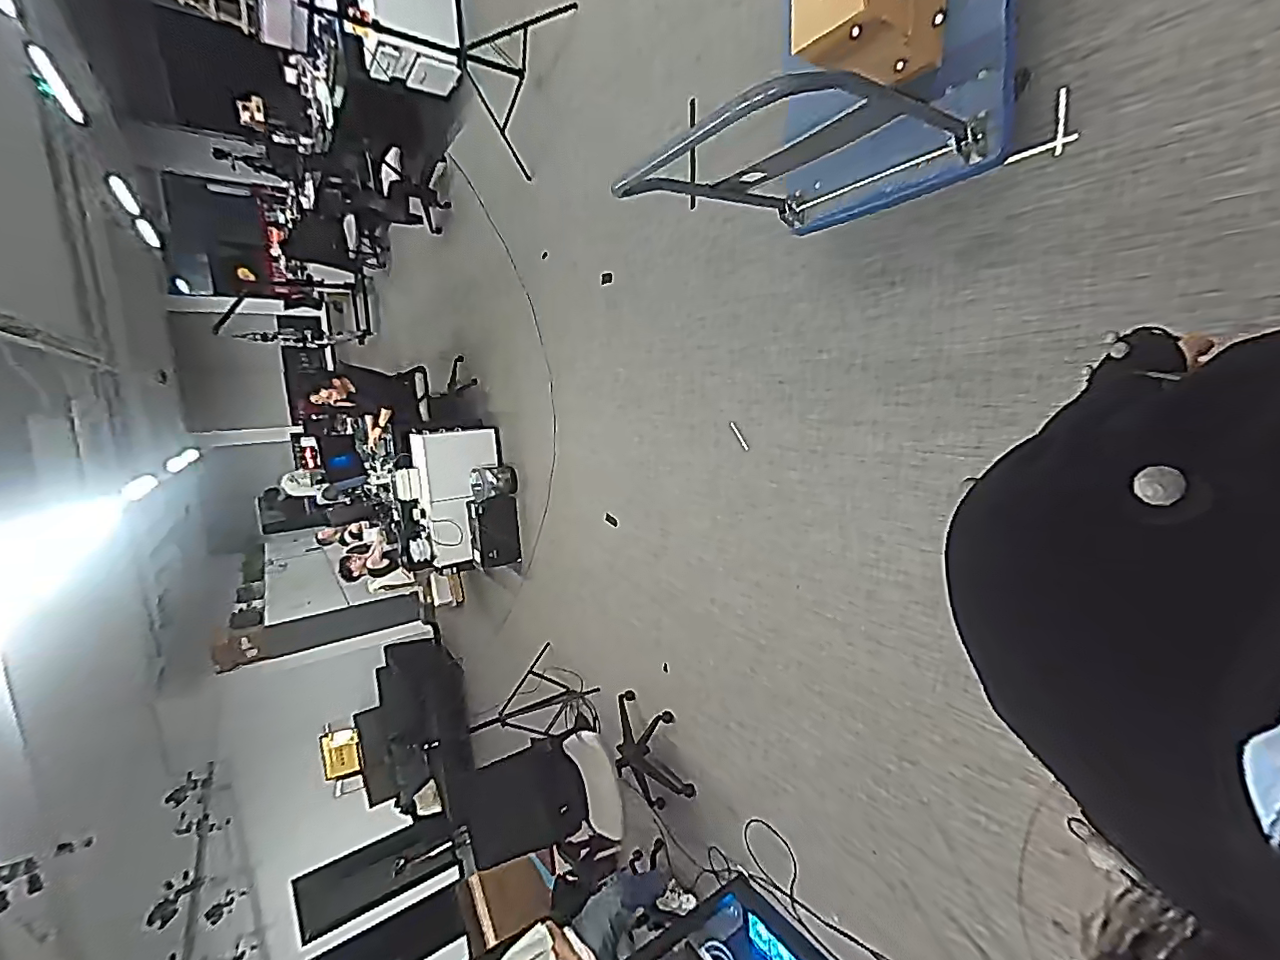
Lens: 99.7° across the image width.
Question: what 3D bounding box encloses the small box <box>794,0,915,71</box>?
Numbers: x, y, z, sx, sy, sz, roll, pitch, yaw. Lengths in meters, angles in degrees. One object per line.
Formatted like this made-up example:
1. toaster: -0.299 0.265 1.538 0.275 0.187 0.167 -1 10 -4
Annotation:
1. small box: 0.439 -0.988 1.110 0.179 0.176 0.168 11 106 53
